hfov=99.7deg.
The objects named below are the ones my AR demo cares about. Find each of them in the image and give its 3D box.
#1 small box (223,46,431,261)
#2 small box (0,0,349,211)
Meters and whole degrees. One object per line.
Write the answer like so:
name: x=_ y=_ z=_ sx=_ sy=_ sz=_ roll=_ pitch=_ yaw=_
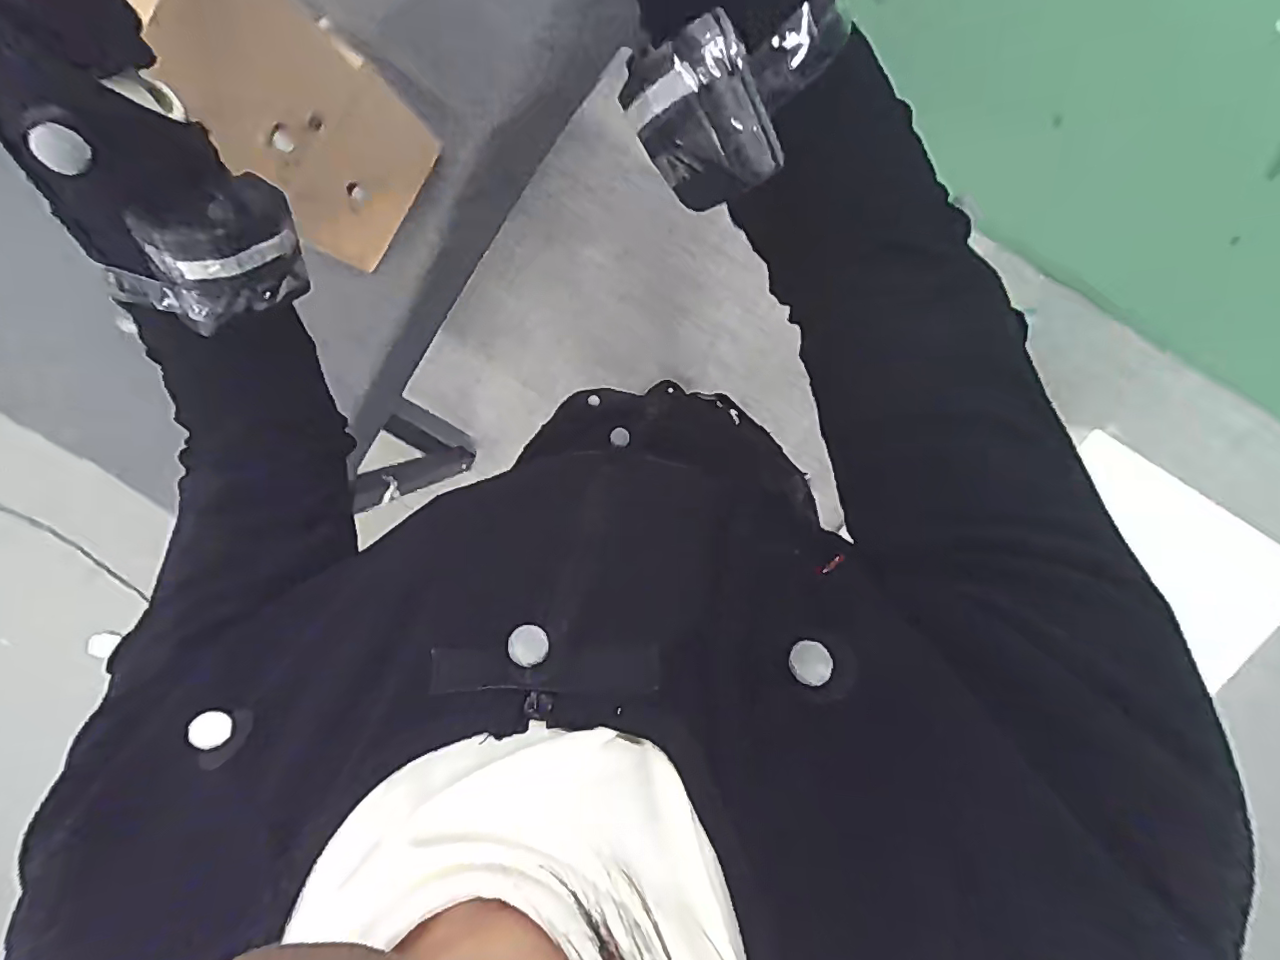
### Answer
small box: x=-0.357 y=-0.364 z=0.575 sx=0.168 sy=0.176 sz=0.179 roll=35 pitch=101 yaw=-1
small box: x=-0.375 y=-0.343 z=0.413 sx=0.179 sy=0.176 sz=0.168 roll=35 pitch=100 yaw=1
